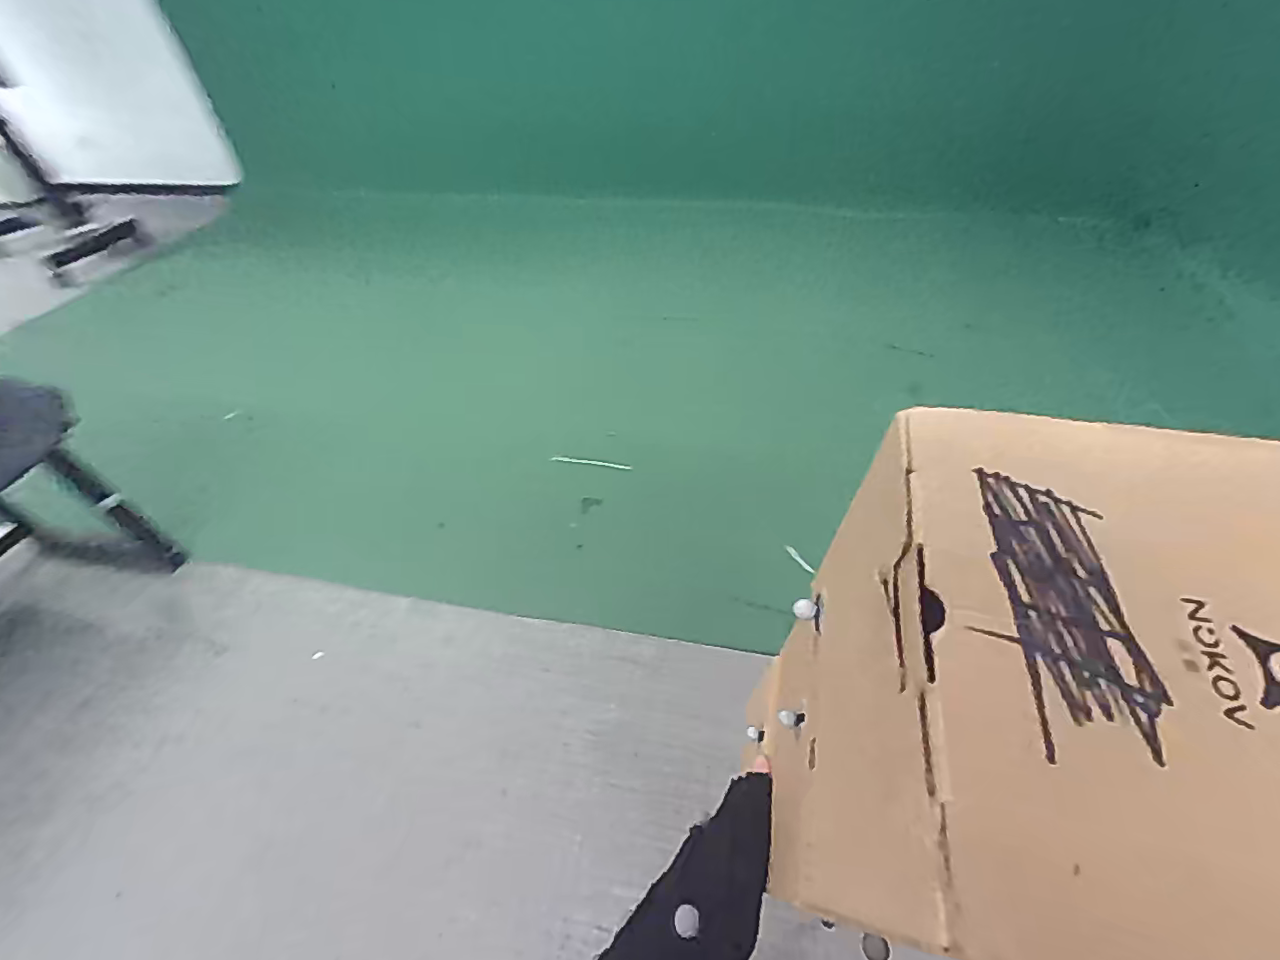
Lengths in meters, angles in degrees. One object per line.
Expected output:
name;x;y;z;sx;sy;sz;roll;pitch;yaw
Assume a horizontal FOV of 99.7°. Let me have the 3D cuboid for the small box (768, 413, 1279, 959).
small box;0.153;0.097;0.218;0.179;0.176;0.168;8;57;9
